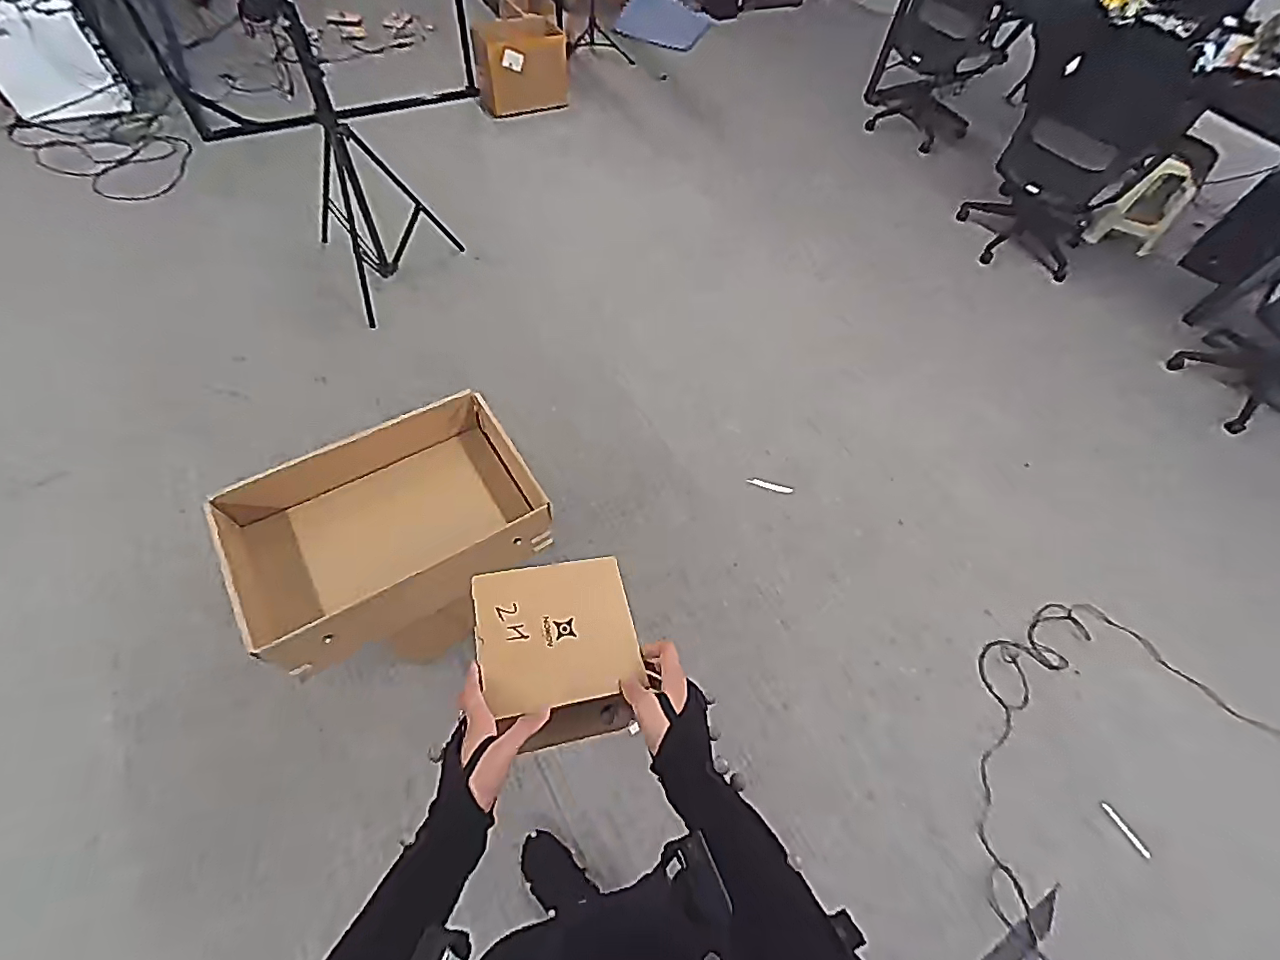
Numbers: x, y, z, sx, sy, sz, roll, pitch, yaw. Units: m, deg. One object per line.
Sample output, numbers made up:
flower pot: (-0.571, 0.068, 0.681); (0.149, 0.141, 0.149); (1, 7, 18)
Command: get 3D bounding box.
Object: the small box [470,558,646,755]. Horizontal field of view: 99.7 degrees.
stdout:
small box: (-0.108, 0.217, 0.662); (0.179, 0.176, 0.168); (-6, 53, -17)
